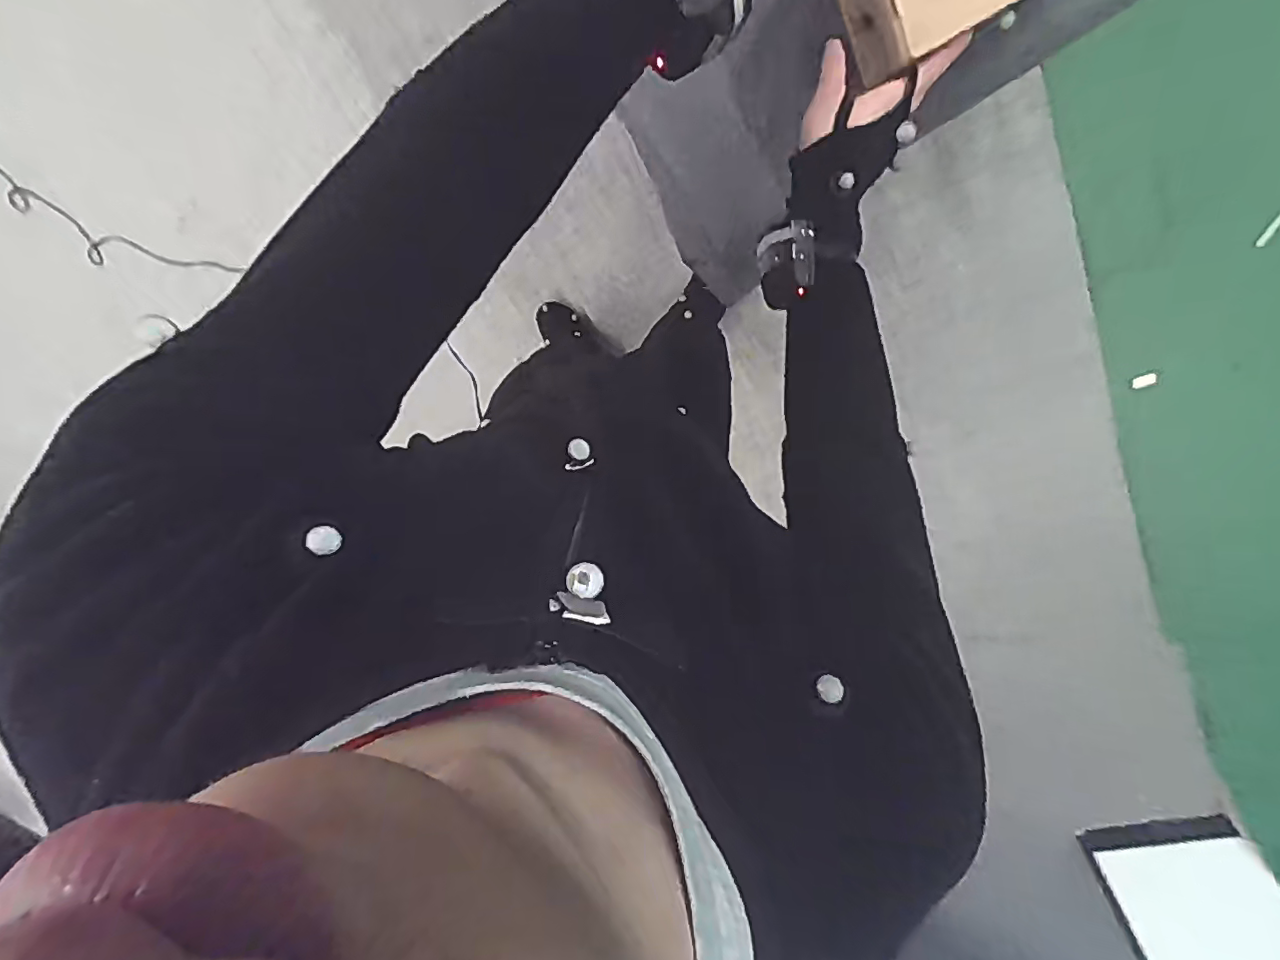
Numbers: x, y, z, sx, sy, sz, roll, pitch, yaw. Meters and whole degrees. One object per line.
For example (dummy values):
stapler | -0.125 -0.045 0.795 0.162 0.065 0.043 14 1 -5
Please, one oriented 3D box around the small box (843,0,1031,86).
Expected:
small box | 0.255 -0.451 0.427 0.179 0.176 0.168 -22 114 21
